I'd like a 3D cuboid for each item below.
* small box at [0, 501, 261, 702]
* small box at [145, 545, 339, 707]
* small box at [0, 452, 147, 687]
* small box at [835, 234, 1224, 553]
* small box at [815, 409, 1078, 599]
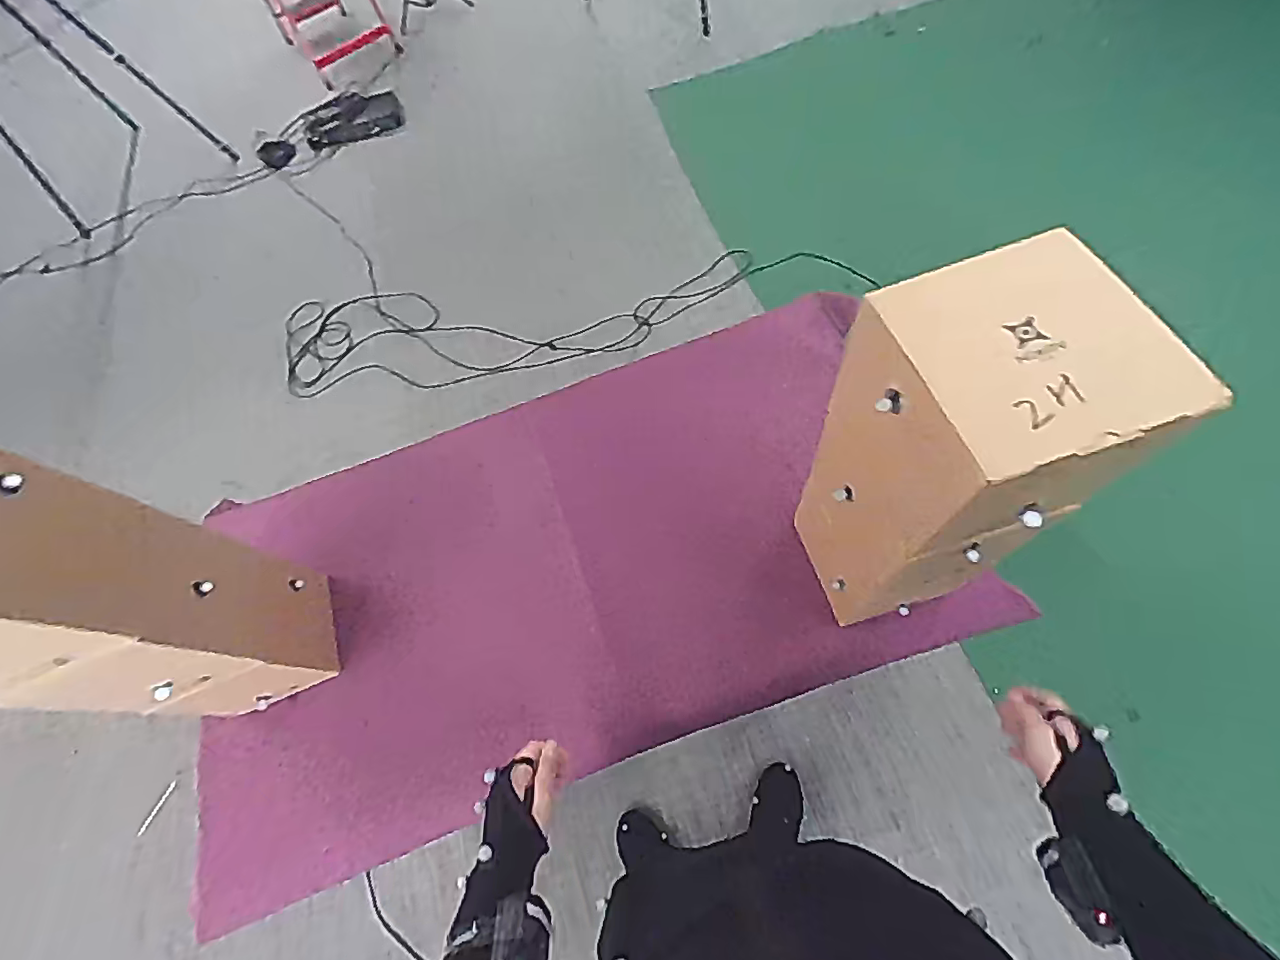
[{"bbox_3d":[-0.609,0.158,0.668,0.168,0.176,0.179,-23,65,-2],"label":"small box"},{"bbox_3d":[-0.588,0.226,0.815,0.168,0.176,0.179,-22,65,-2],"label":"small box"},{"bbox_3d":[-0.631,0.091,0.522,0.168,0.176,0.179,-24,64,-2],"label":"small box"},{"bbox_3d":[0.284,-0.061,0.453,0.168,0.176,0.179,-18,64,1],"label":"small box"},{"bbox_3d":[0.310,0.011,0.599,0.168,0.176,0.179,-18,63,1],"label":"small box"}]
